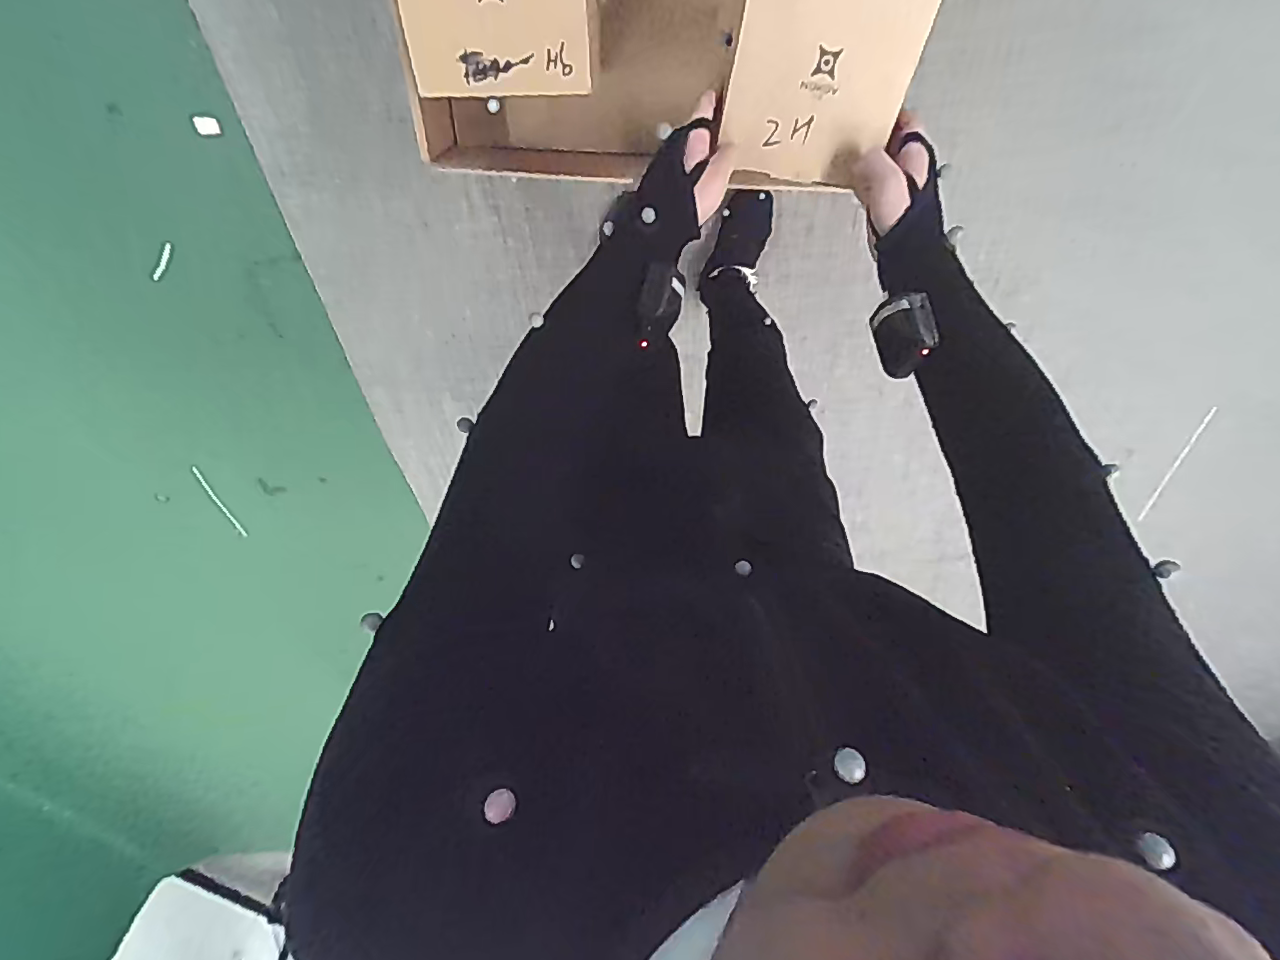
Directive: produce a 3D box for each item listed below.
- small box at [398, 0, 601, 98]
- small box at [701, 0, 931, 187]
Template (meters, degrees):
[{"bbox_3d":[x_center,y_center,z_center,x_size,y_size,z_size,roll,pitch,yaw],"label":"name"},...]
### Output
[{"bbox_3d":[-0.130,-0.486,0.526,0.168,0.176,0.179,1,130,3],"label":"small box"},{"bbox_3d":[0.161,-0.429,0.553,0.168,0.176,0.179,7,133,-4],"label":"small box"}]
